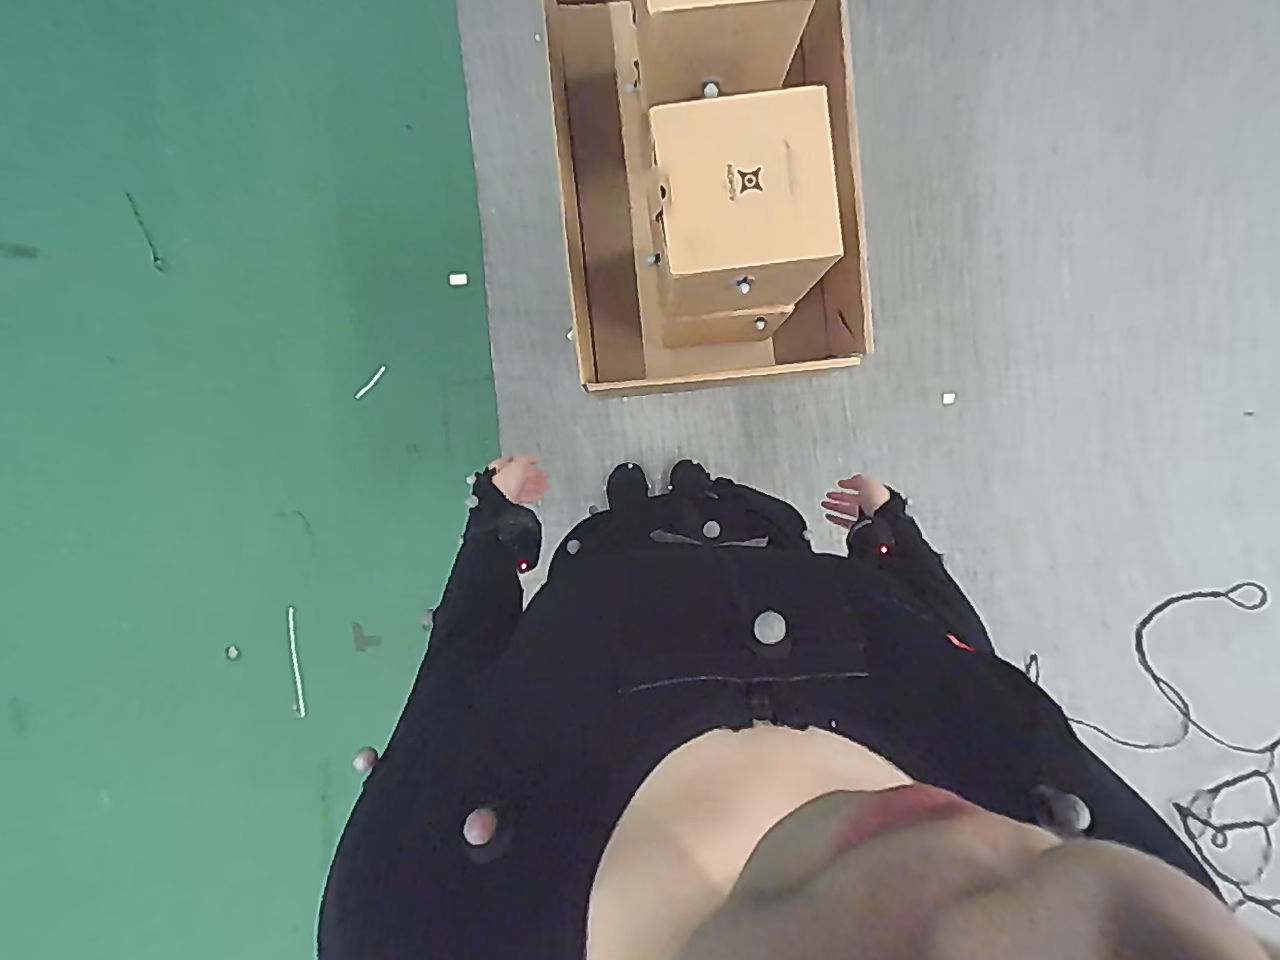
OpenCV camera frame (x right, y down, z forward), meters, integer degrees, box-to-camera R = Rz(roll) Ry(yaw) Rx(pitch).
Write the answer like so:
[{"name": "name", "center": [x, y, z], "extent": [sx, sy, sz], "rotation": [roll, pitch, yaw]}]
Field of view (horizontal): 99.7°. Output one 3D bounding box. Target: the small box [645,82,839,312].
[{"name": "small box", "center": [0.101, -0.298, 0.607], "extent": [0.179, 0.176, 0.168], "rotation": [-7, 93, 0]}]

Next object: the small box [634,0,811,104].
[{"name": "small box", "center": [0.078, -0.549, 0.589], "extent": [0.168, 0.176, 0.179], "rotation": [-5, 95, 1]}]

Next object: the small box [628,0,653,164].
[{"name": "small box", "center": [0.078, -0.566, 0.753], "extent": [0.179, 0.176, 0.168], "rotation": [-4, 95, 1]}]
